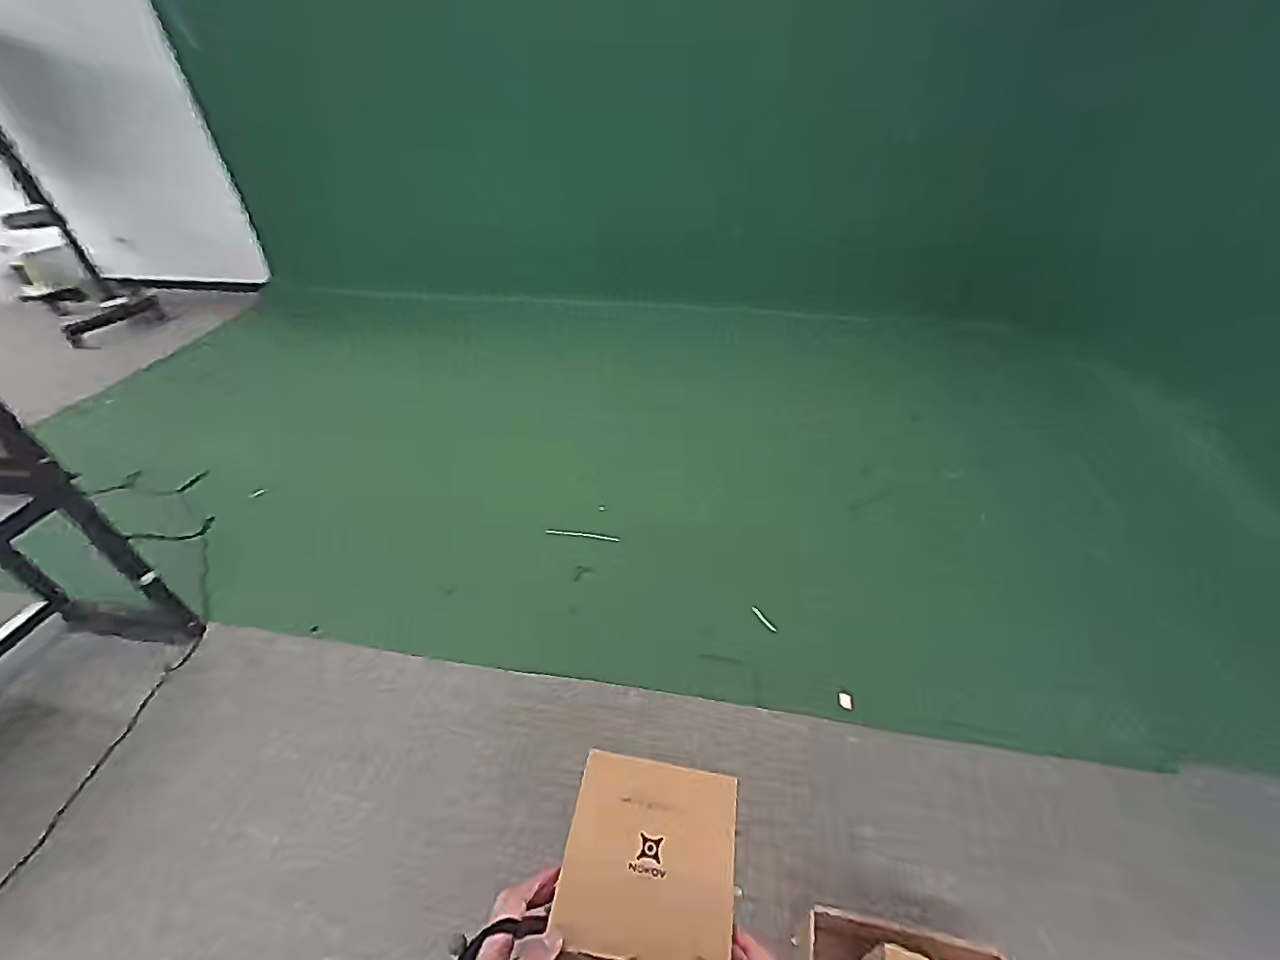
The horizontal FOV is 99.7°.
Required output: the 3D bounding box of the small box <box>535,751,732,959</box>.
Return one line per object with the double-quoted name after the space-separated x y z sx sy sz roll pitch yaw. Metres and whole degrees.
0.000 0.425 0.570 0.168 0.176 0.179 9 39 6 "small box"
